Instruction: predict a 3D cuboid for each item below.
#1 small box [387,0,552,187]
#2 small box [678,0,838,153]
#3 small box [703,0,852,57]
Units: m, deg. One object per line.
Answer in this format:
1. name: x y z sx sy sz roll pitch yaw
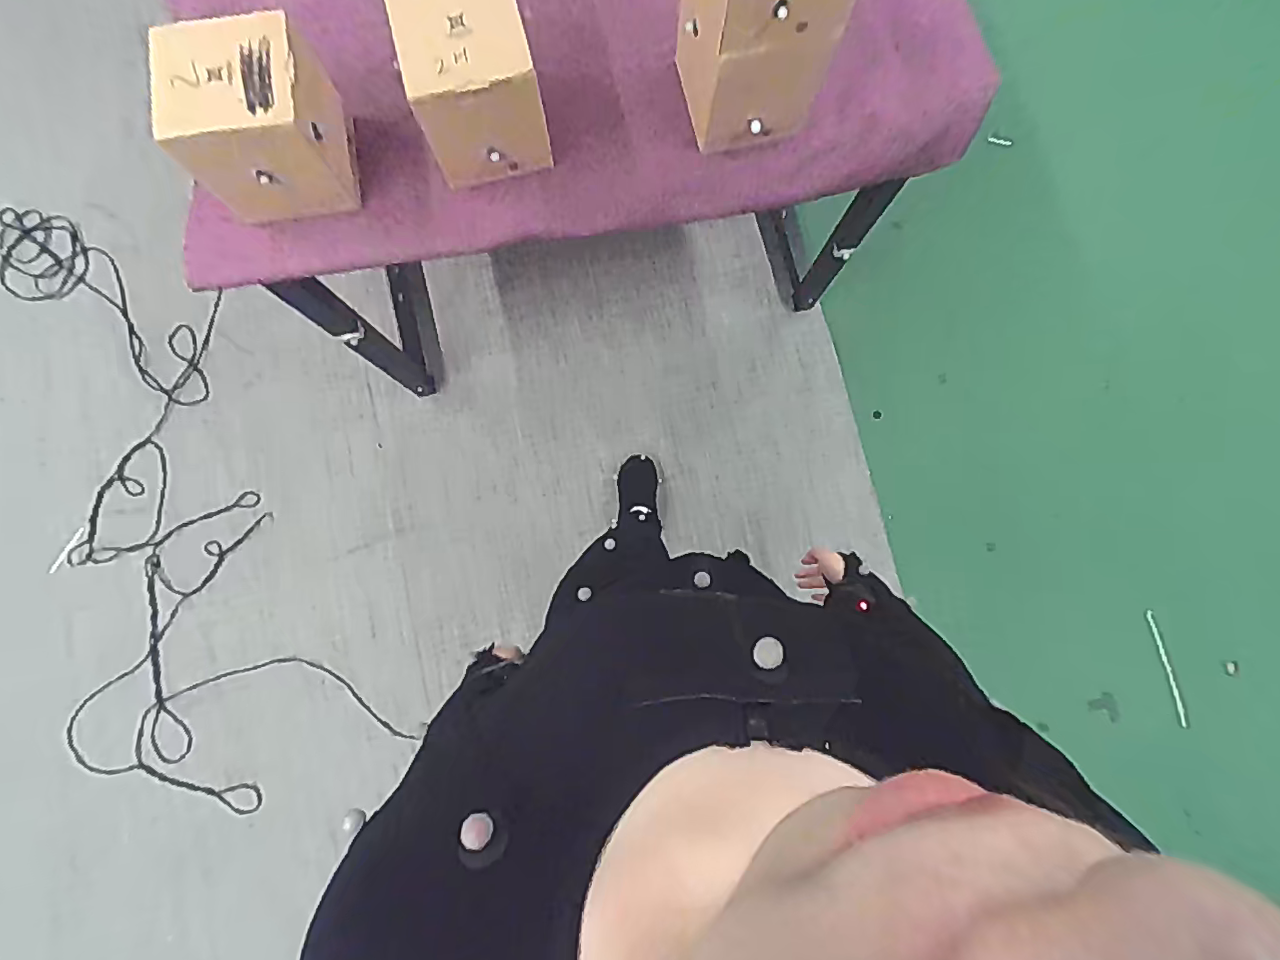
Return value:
1. small box: -0.233 -0.561 0.768 0.168 0.176 0.179 -15 82 -3
2. small box: 0.158 -0.622 0.786 0.168 0.176 0.179 -13 84 -3
3. small box: 0.161 -0.648 0.625 0.168 0.176 0.179 -14 83 -3
